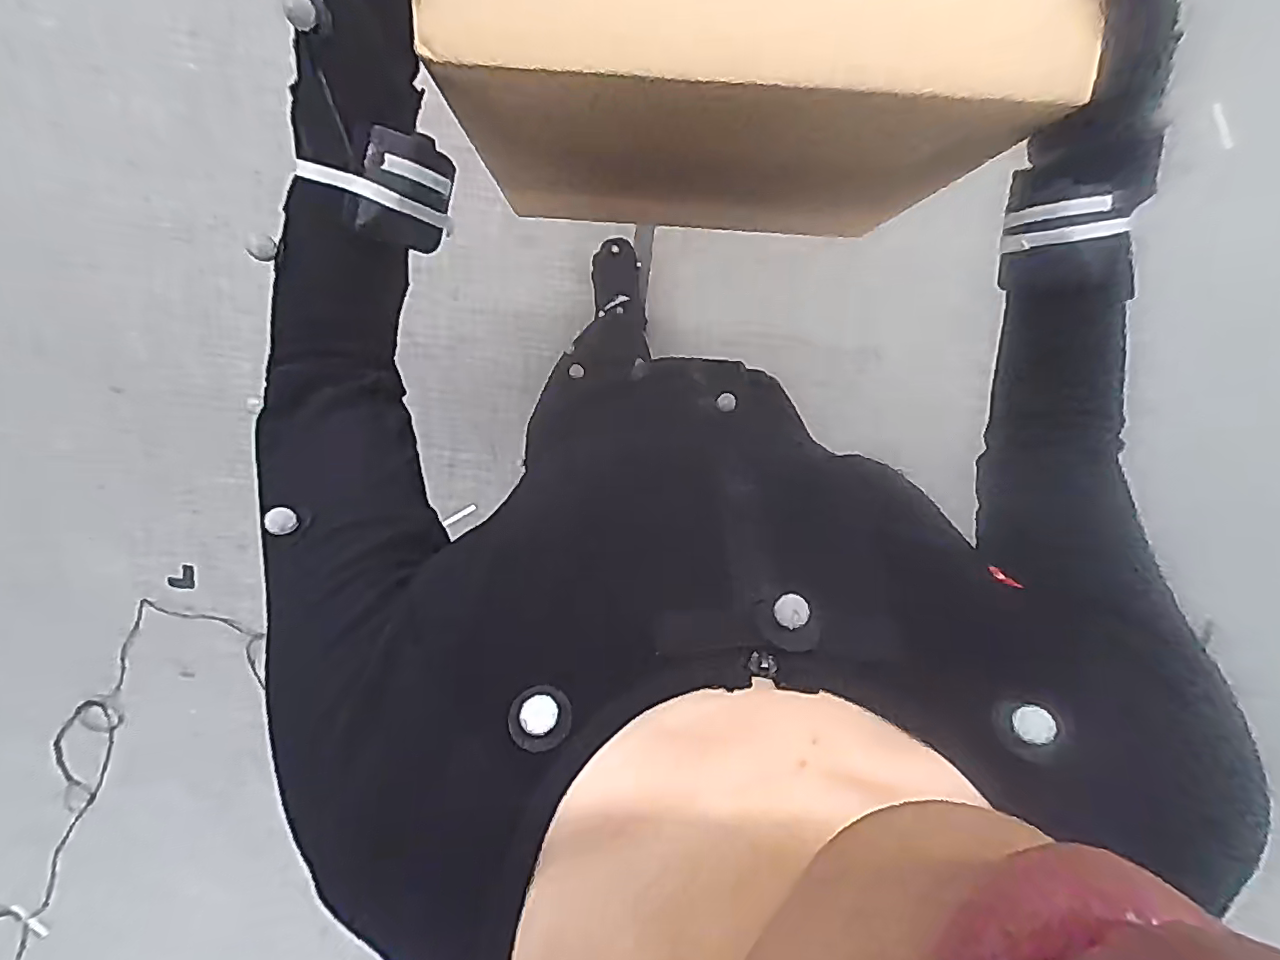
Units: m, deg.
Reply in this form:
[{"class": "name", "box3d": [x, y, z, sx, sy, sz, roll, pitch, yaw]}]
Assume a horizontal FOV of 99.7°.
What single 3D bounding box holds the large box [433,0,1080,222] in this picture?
[{"class": "large box", "box3d": [0.067, -0.426, 0.452, 0.408, 0.320, 0.320, 1, 101, -4]}]
